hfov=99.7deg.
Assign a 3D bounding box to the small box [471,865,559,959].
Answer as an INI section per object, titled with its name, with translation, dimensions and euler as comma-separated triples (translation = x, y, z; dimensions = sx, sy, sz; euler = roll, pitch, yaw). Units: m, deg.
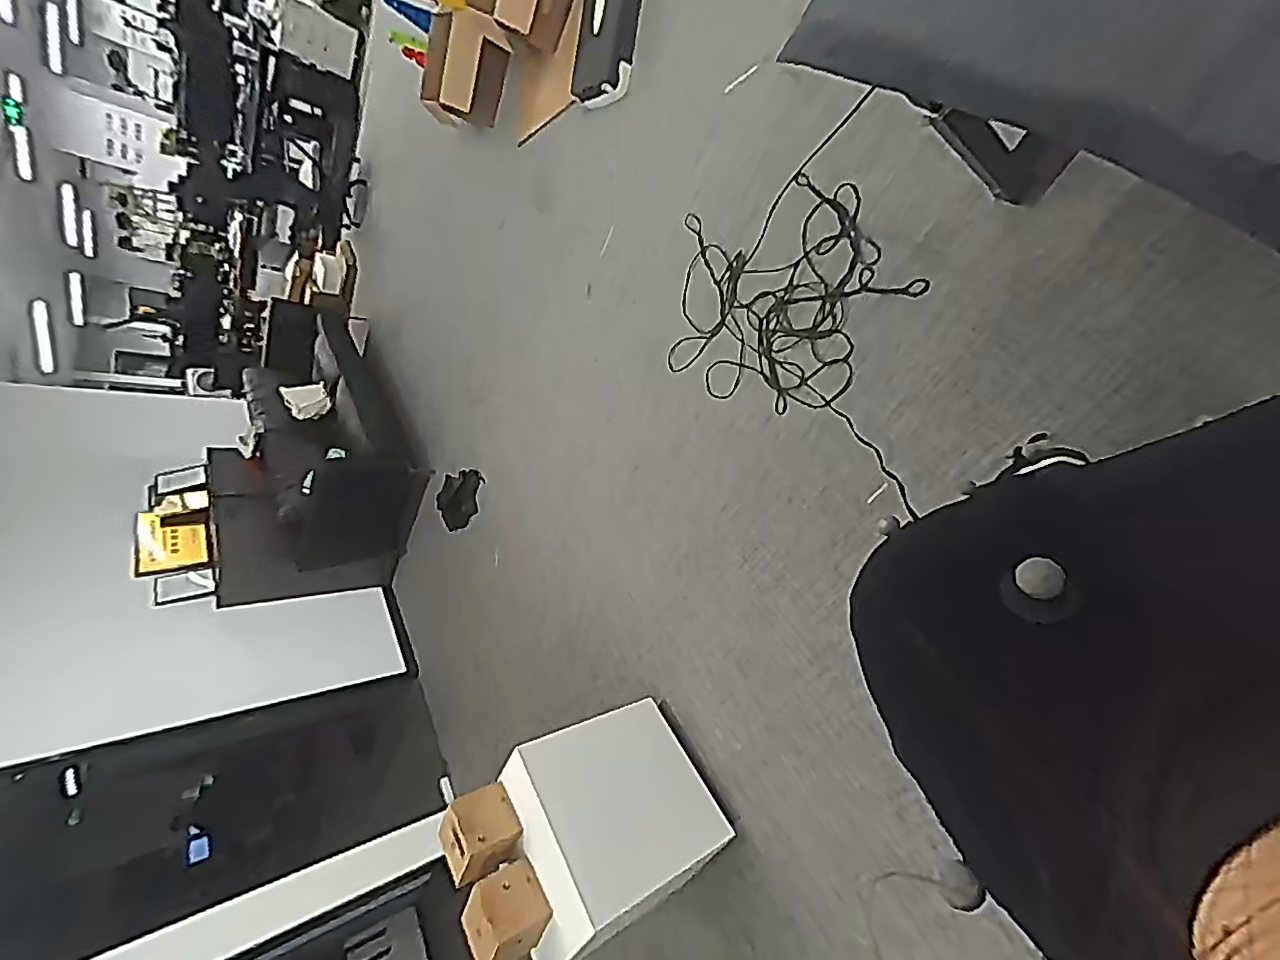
[small box]
translation = -0.343, 1.222, 1.496
dimensions = 0.168, 0.176, 0.179
euler = 41, 120, 42
